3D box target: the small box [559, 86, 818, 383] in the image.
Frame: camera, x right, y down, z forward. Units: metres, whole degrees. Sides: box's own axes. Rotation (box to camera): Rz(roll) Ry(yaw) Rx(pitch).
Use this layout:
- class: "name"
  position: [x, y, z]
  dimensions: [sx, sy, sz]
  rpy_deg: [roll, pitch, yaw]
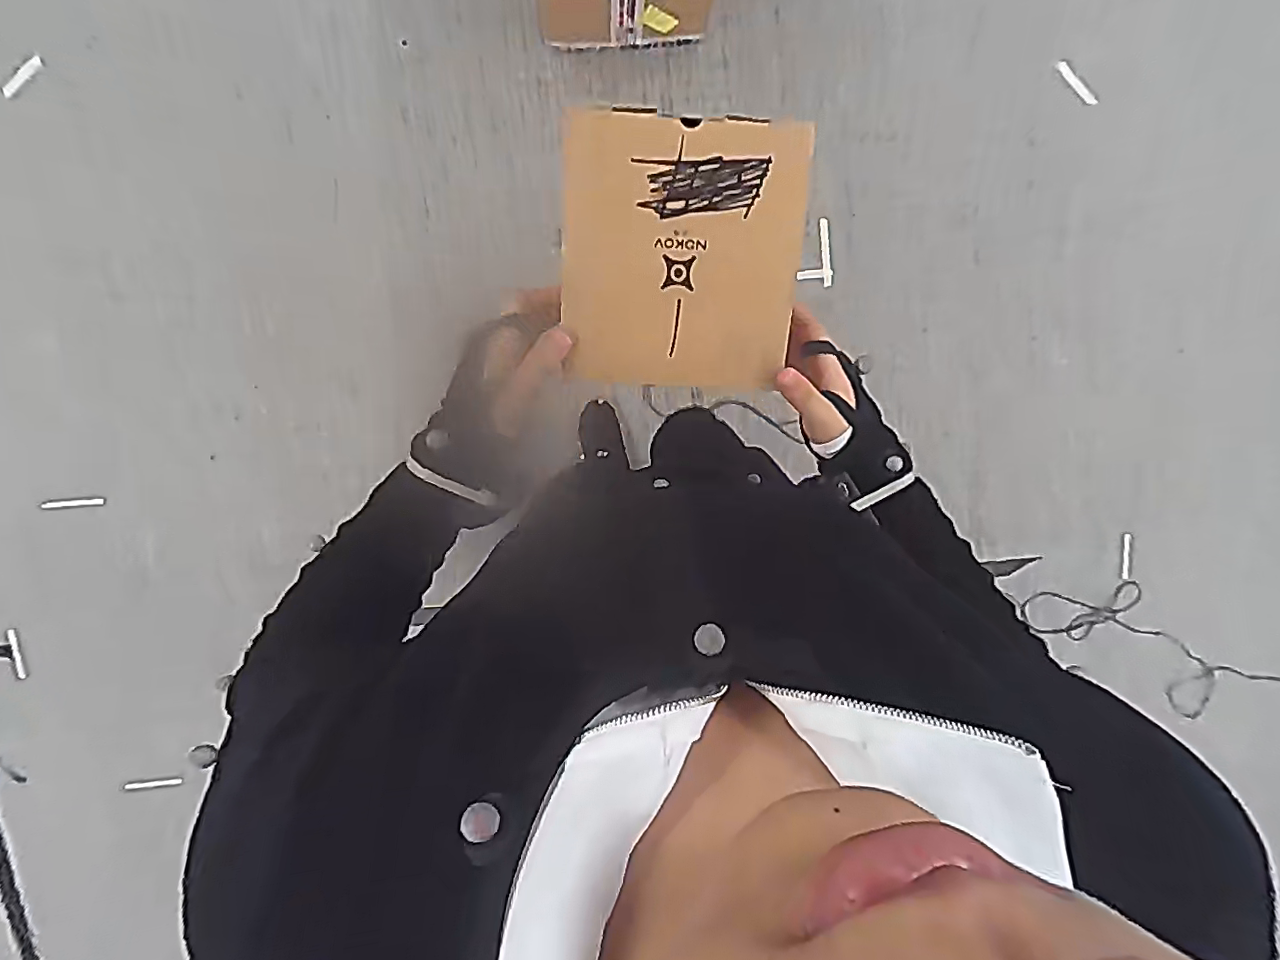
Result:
- class: "small box"
  position: [0.024, -0.182, 0.441]
  dimensions: [0.168, 0.176, 0.179]
  rpy_deg: [3, 109, -4]
